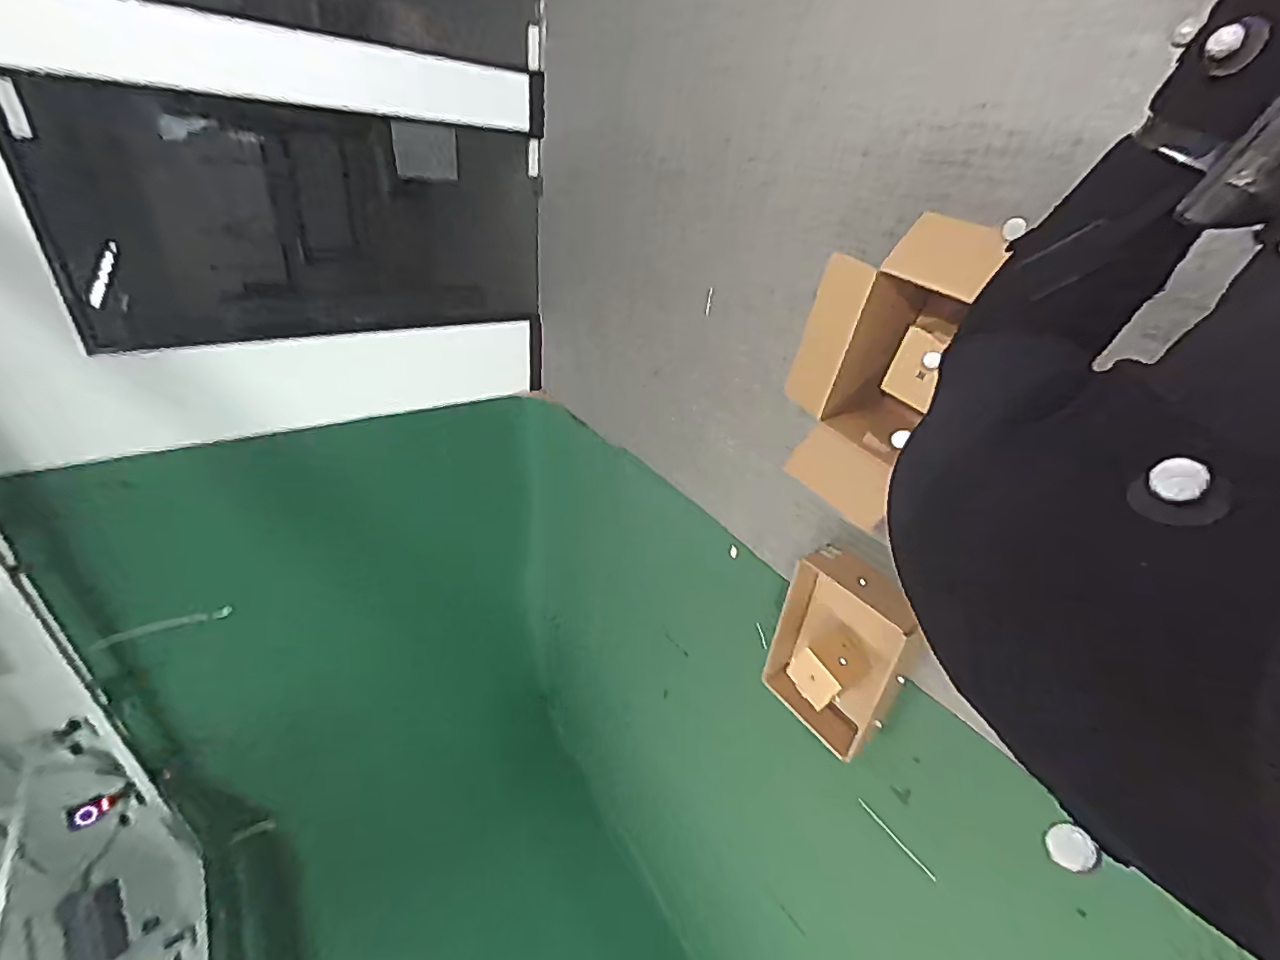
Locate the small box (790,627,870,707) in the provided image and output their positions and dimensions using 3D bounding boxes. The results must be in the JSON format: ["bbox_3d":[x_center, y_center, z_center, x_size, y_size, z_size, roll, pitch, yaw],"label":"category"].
[{"bbox_3d":[0.659,0.639,1.863,0.168,0.176,0.179,51,140,34],"label":"small box"}]
